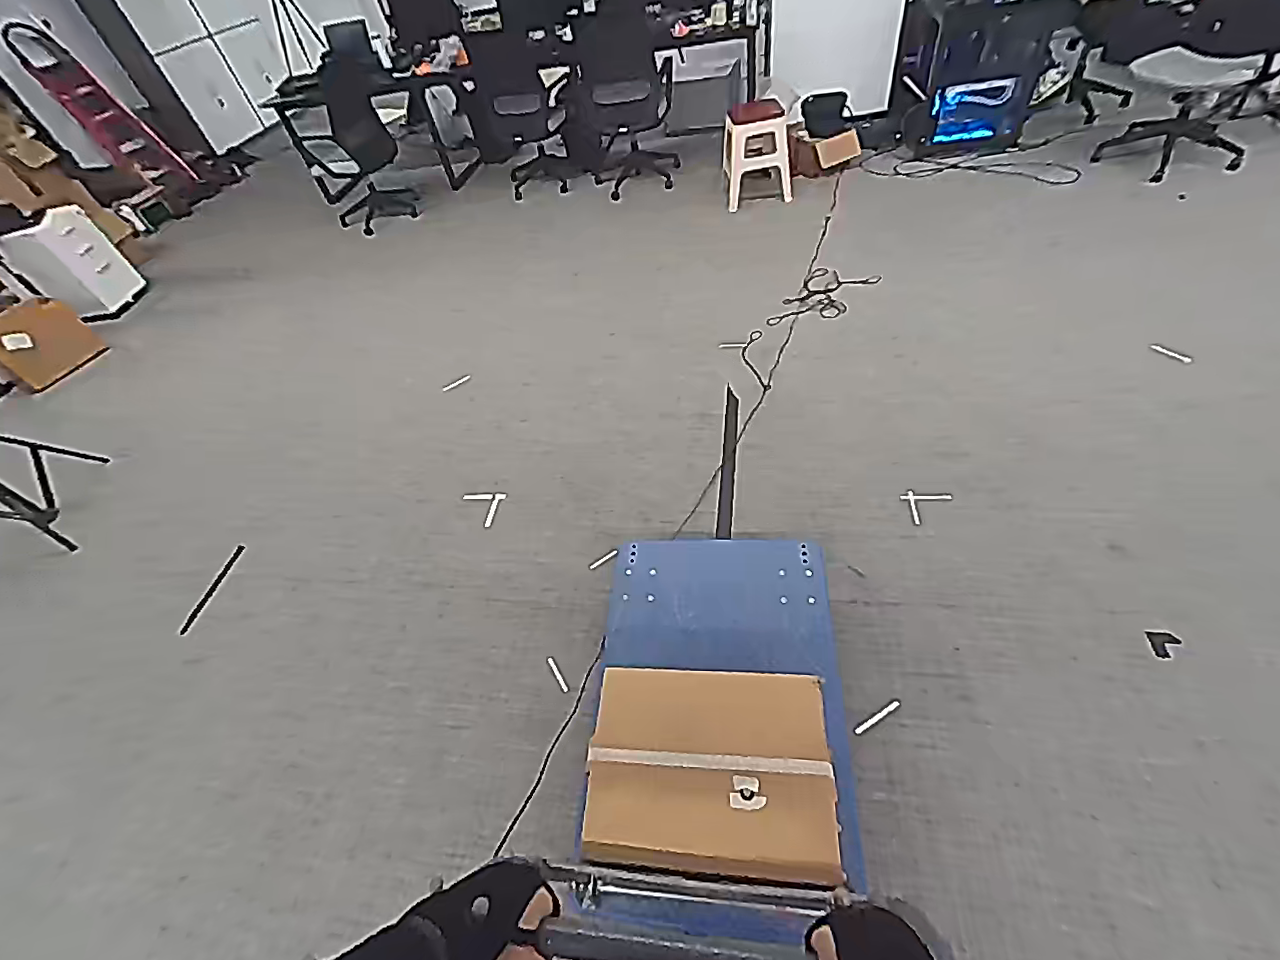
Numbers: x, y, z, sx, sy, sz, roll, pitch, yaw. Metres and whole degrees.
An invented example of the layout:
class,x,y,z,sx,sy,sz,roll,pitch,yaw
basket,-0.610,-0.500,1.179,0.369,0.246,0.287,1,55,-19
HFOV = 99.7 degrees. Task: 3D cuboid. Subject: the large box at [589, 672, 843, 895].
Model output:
class,x,y,z,sx,sy,sz,roll,pitch,yaw
large box,0.142,0.587,1.048,0.408,0.320,0.320,-1,50,9
